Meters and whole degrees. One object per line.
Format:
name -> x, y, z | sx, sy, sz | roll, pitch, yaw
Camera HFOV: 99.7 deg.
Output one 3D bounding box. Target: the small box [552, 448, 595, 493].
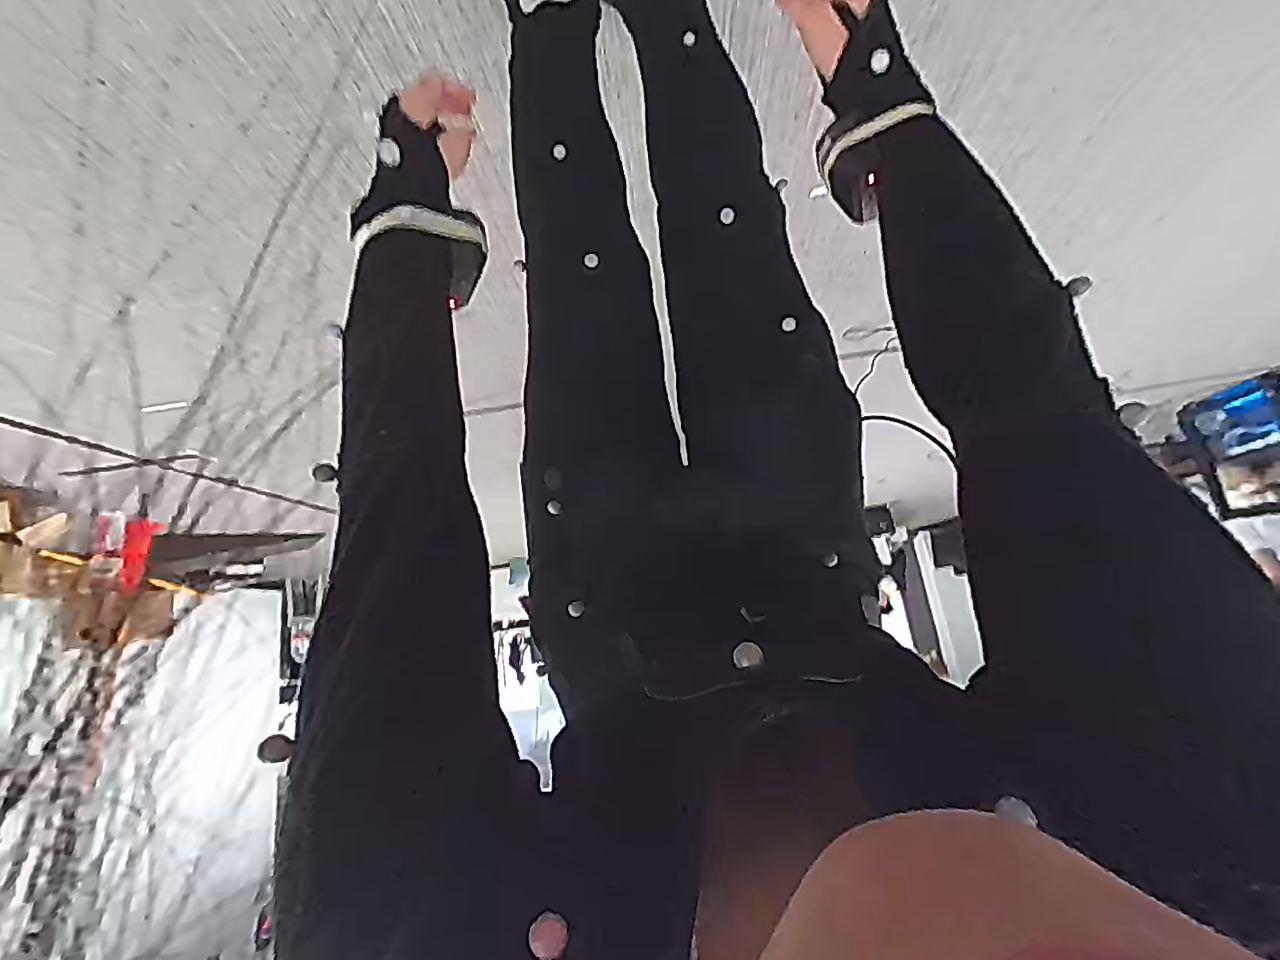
small box -> -0.323, -0.047, 2.586 | 0.179, 0.176, 0.168 | -6, 165, -15
